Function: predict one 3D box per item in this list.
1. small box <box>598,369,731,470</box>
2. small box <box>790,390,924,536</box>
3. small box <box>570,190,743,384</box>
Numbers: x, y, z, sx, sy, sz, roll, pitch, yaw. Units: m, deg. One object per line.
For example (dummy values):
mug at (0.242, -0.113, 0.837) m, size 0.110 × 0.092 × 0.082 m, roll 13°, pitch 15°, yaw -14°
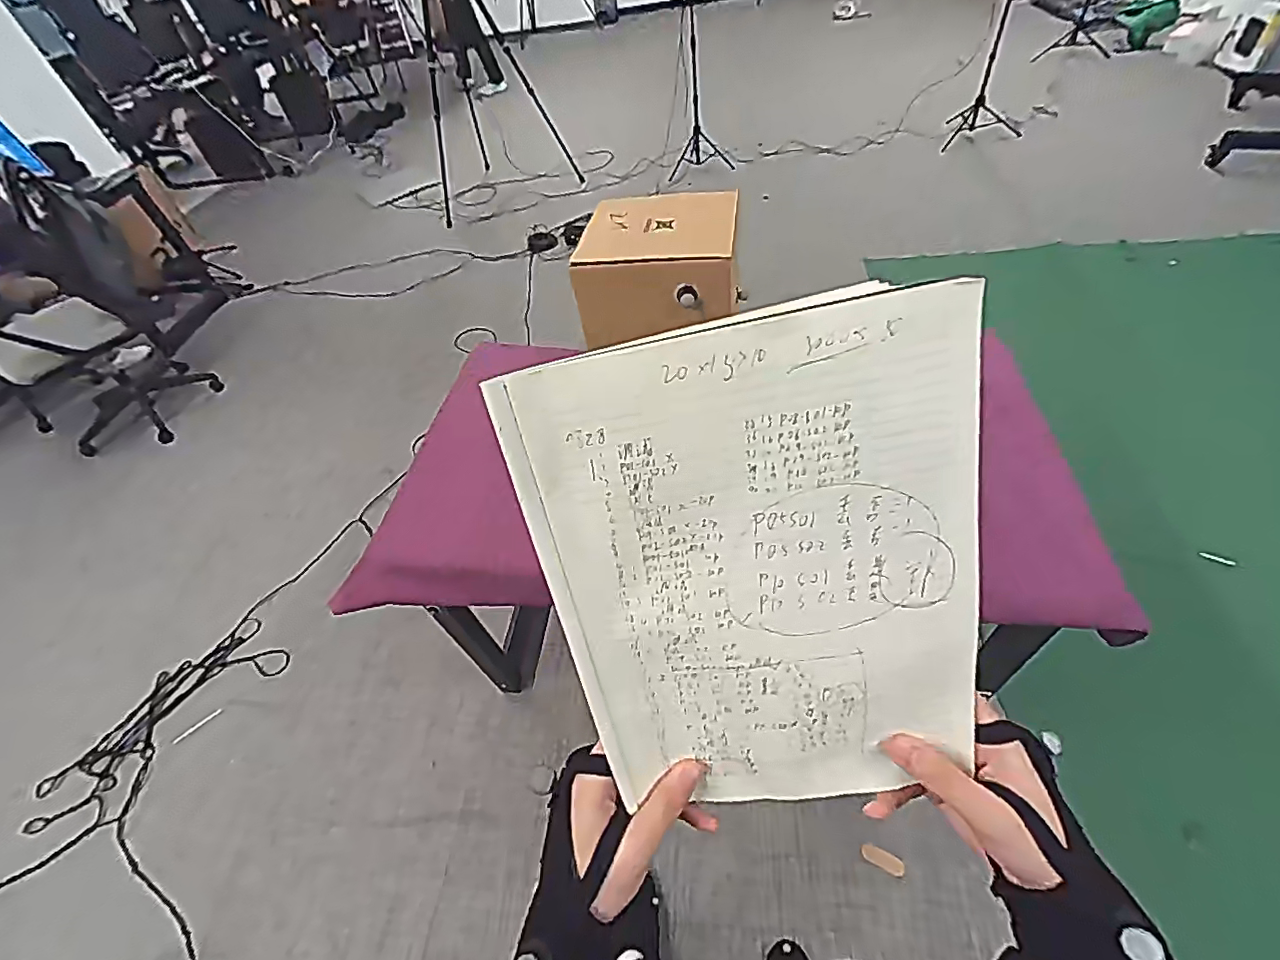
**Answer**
small box at (0.047, -0.128, 0.795) m, size 0.168 × 0.176 × 0.179 m, roll 1°, pitch 48°, yaw 11°
small box at (0.335, -0.024, 0.873) m, size 0.168 × 0.176 × 0.179 m, roll 1°, pitch 48°, yaw 10°
small box at (0.033, -0.232, 0.667) m, size 0.179 × 0.176 × 0.168 m, roll 2°, pitch 48°, yaw 12°
